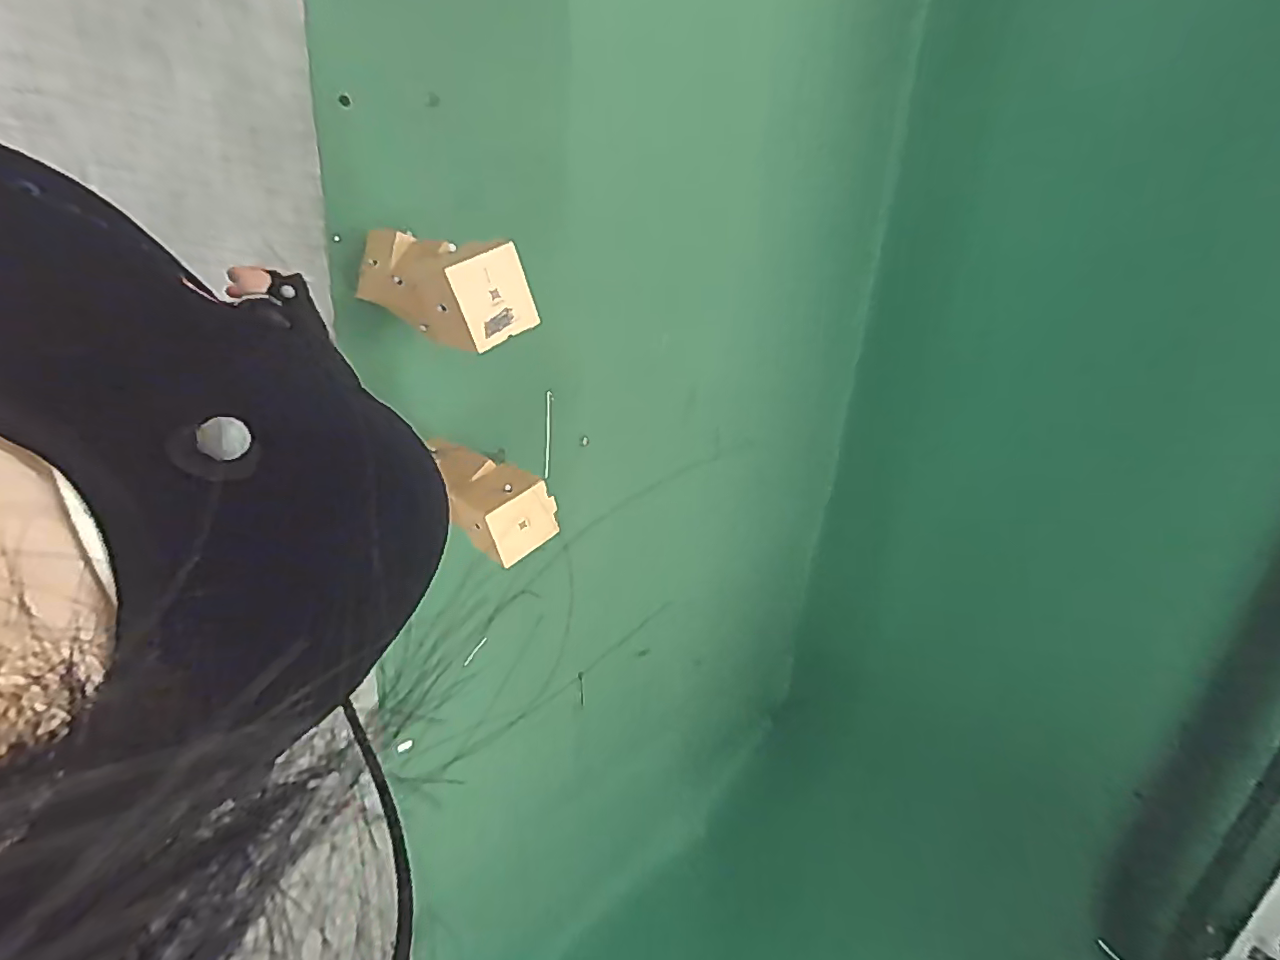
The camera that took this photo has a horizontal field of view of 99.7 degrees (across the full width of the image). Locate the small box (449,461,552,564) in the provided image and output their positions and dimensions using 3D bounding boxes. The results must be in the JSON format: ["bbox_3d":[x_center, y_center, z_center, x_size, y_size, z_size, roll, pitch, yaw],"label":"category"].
[{"bbox_3d":[-0.356,0.075,1.363,0.179,0.176,0.168,-36,131,-33],"label":"small box"}]

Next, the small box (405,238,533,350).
[{"bbox_3d":[-0.360,-0.398,1.141,0.168,0.176,0.179,-38,131,-30],"label":"small box"}]

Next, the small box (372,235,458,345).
[{"bbox_3d":[-0.478,-0.438,1.249,0.168,0.176,0.179,-60,141,-8],"label":"small box"}]

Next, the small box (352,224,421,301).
[{"bbox_3d":[-0.587,-0.517,1.345,0.179,0.176,0.168,7,102,-50],"label":"small box"}]
